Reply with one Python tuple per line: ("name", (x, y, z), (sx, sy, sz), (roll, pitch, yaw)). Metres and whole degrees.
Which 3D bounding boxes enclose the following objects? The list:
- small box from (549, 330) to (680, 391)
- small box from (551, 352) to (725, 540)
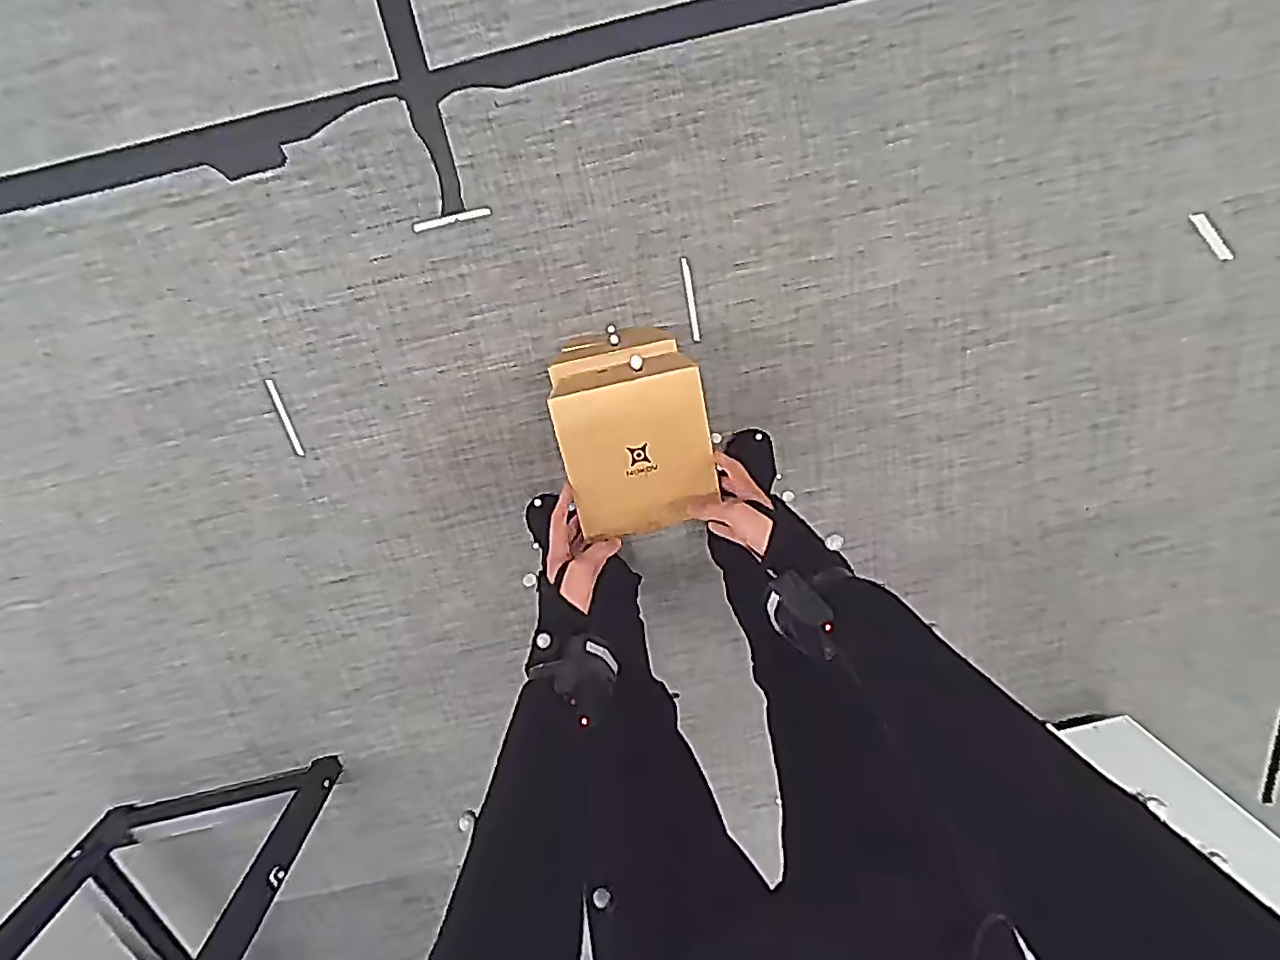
("small box", (-0.025, -0.122, 0.810), (0.179, 0.176, 0.168), (-13, 110, -1))
("small box", (-0.005, -0.054, 0.663), (0.168, 0.176, 0.179), (-13, 110, 0))
